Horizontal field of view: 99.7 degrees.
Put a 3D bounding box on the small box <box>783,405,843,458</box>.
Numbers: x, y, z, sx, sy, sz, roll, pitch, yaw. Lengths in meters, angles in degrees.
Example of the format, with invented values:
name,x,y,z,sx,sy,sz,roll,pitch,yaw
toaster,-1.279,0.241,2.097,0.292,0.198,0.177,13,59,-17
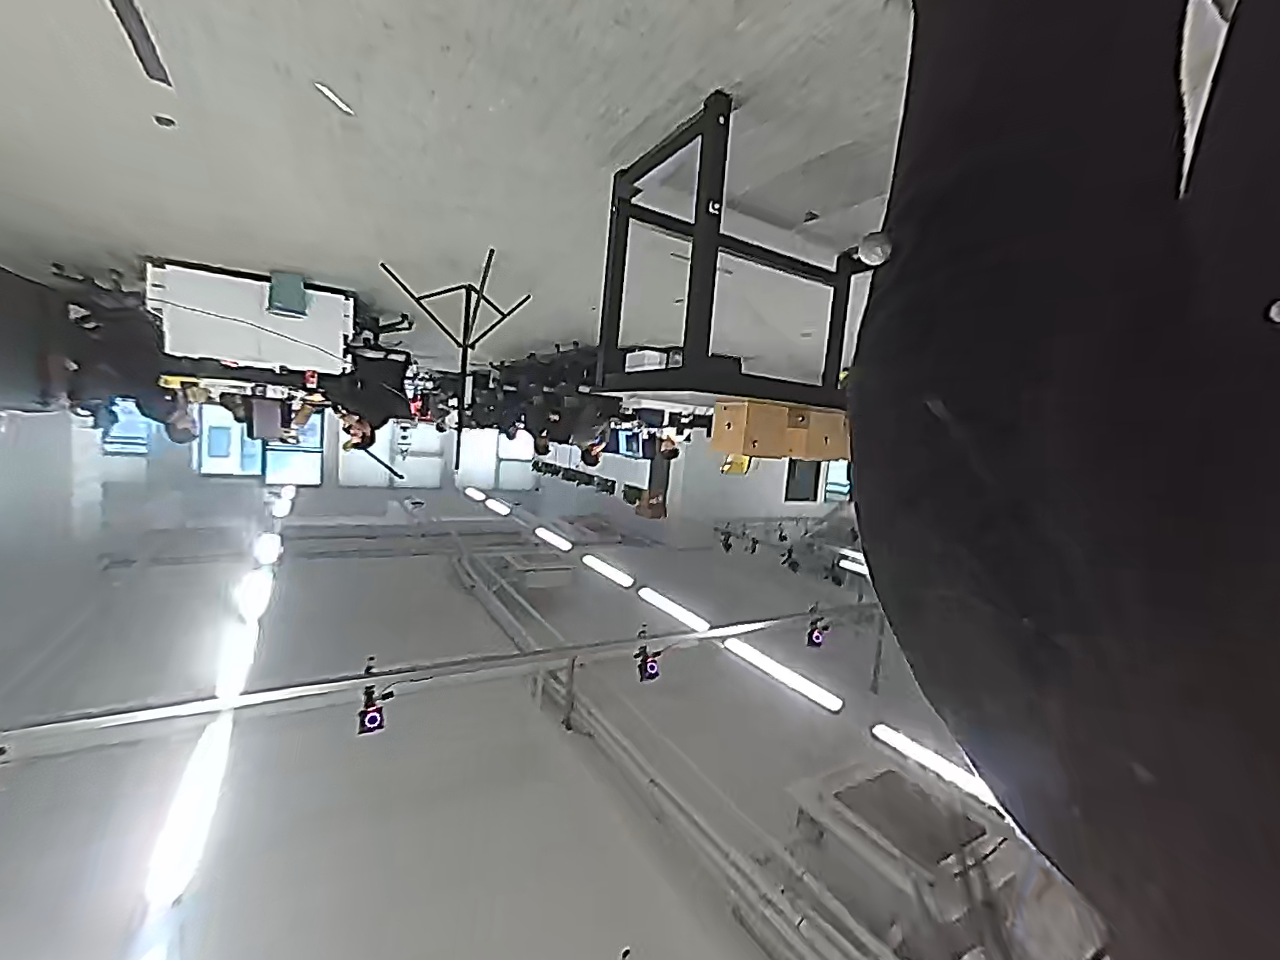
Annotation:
name,x,y,z,sx,sy,sz,roll,pitch,yaw
small box,0.585,-0.171,1.891,0.179,0.176,0.168,1,-173,-31

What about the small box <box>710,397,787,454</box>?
name,x,y,z,sx,sy,sz,roll,pitch,yaw
small box,0.352,-0.178,1.753,0.179,0.176,0.168,1,-172,-31
